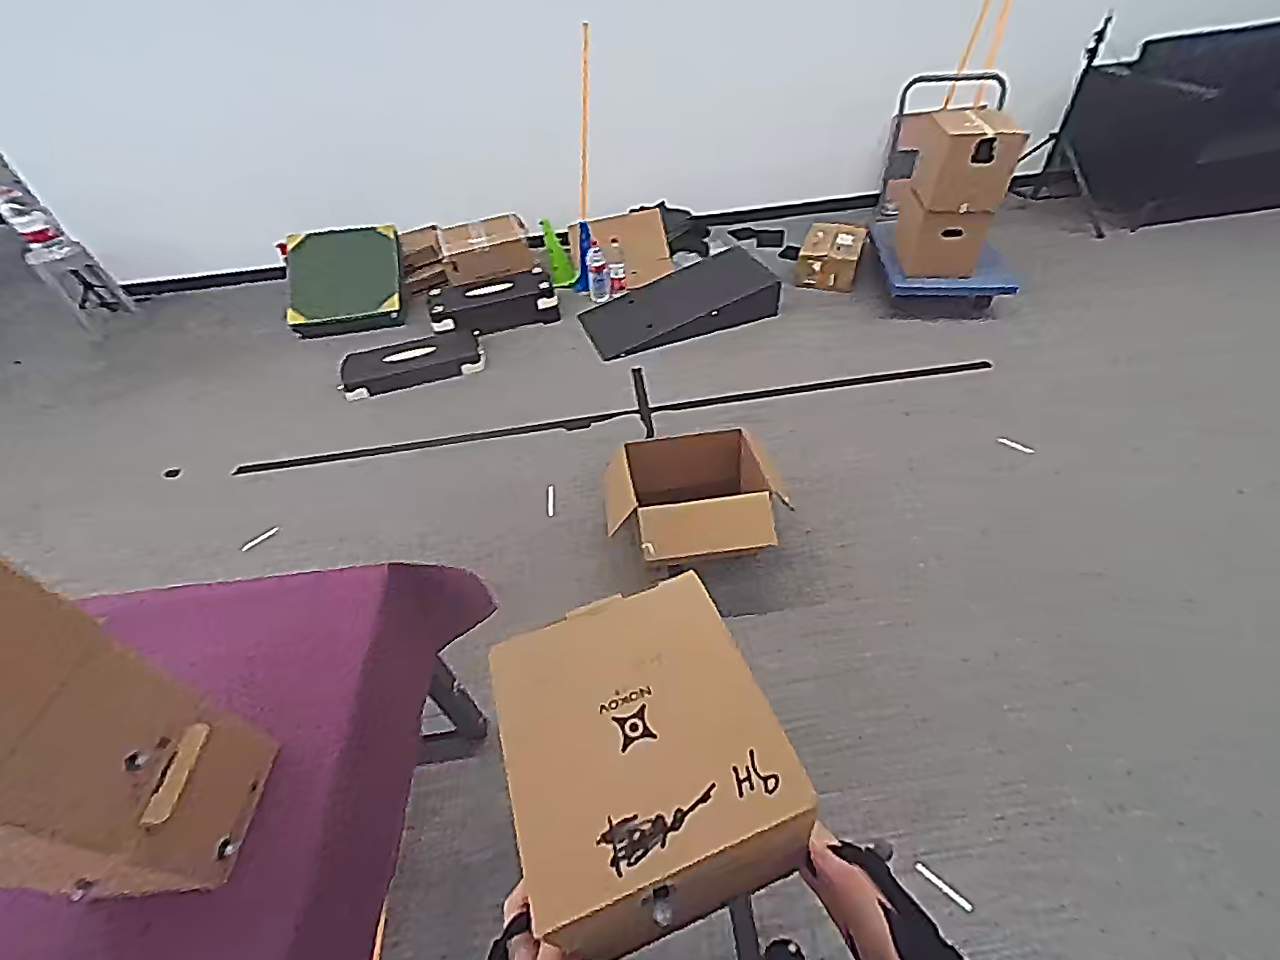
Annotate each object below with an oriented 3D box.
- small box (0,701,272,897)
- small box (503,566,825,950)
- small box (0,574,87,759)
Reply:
[{"bbox_3d":[-0.596,0.385,0.651,0.179,0.176,0.168,-6,46,1],"label":"small box"},{"bbox_3d":[0.011,0.202,0.402,0.168,0.176,0.179,-19,44,-8],"label":"small box"},{"bbox_3d":[-0.615,0.156,0.420,0.168,0.176,0.179,-3,46,2],"label":"small box"}]
